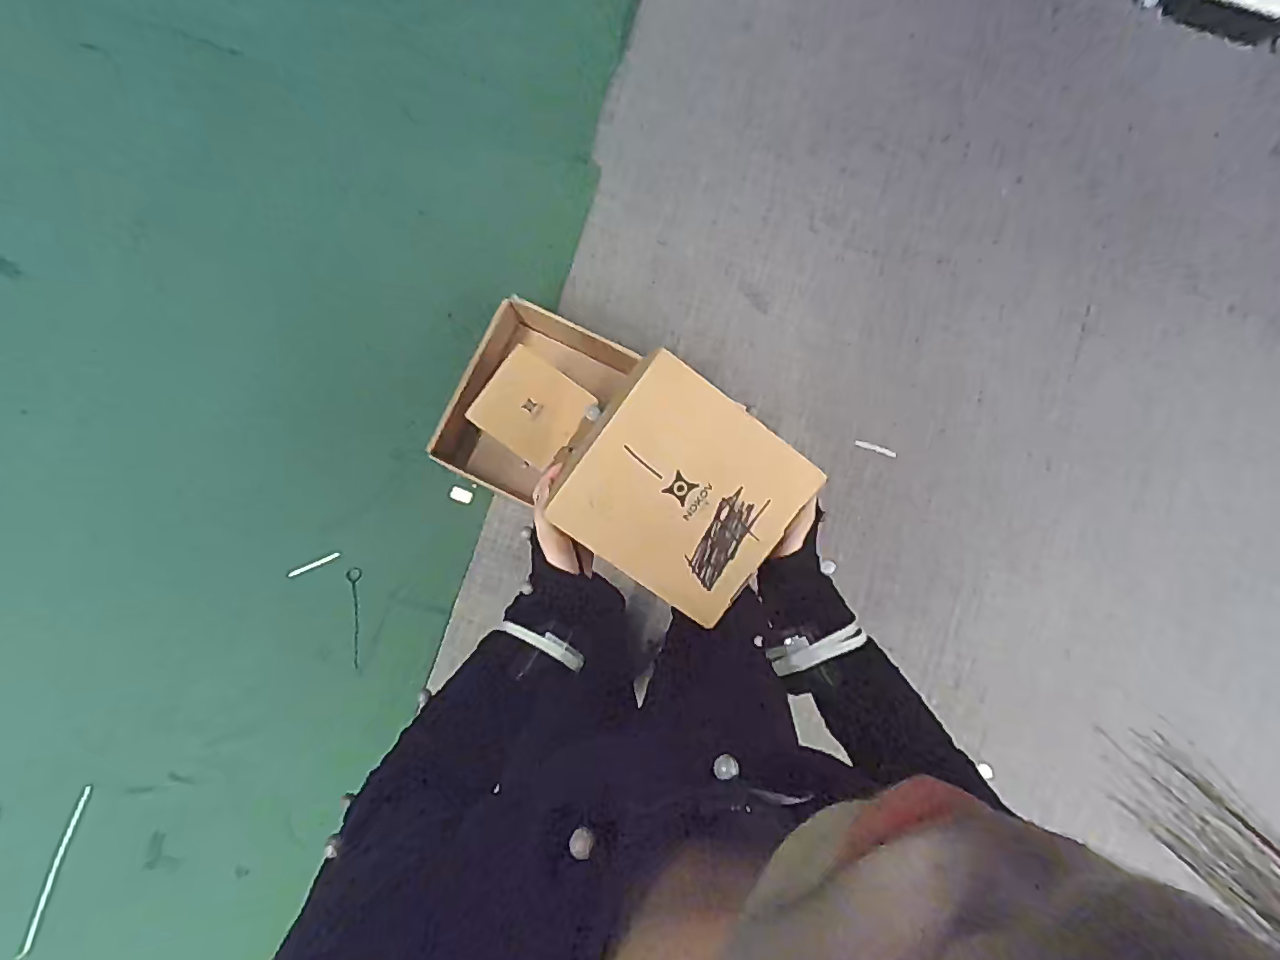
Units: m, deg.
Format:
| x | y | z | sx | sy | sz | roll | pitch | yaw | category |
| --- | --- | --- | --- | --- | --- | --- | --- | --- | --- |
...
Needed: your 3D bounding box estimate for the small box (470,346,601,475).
| x | y | z | sx | sy | sz | roll | pitch | yaw | category |
| --- | --- | --- | --- | --- | --- | --- | --- | --- | --- |
| -0.191 | -0.121 | 1.040 | 0.179 | 0.176 | 0.168 | 36 | 85 | -1 | small box |
